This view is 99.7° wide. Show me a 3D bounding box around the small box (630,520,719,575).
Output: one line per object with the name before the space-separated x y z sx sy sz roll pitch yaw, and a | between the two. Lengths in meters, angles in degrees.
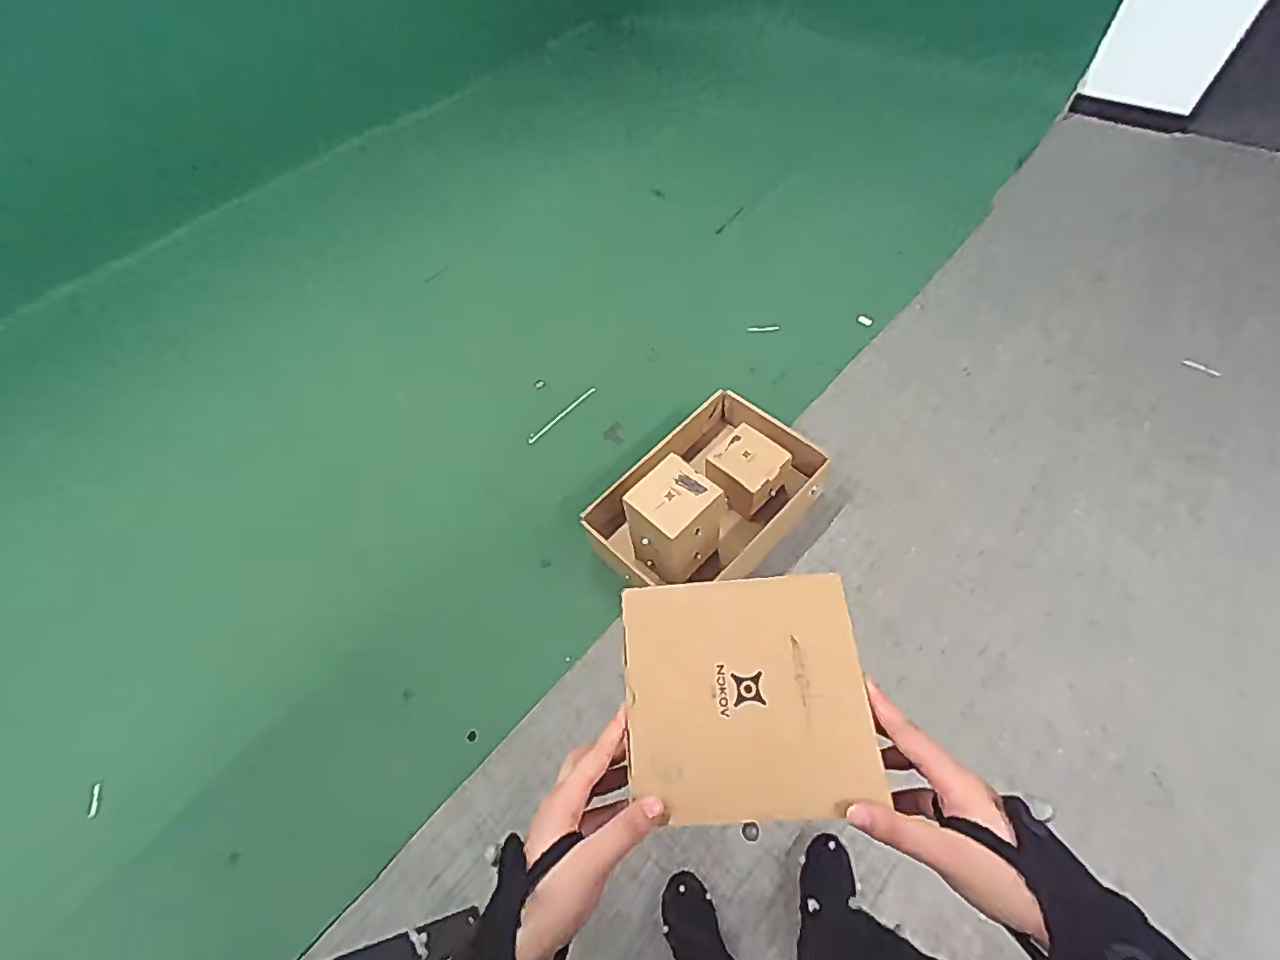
small box | 0.096 0.156 1.452 0.168 0.176 0.179 38 68 24

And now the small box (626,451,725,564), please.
small box | 0.086 0.069 1.313 0.179 0.176 0.168 -42 63 -19

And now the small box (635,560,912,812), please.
small box | 0.094 0.177 0.458 0.179 0.176 0.168 -5 63 2
